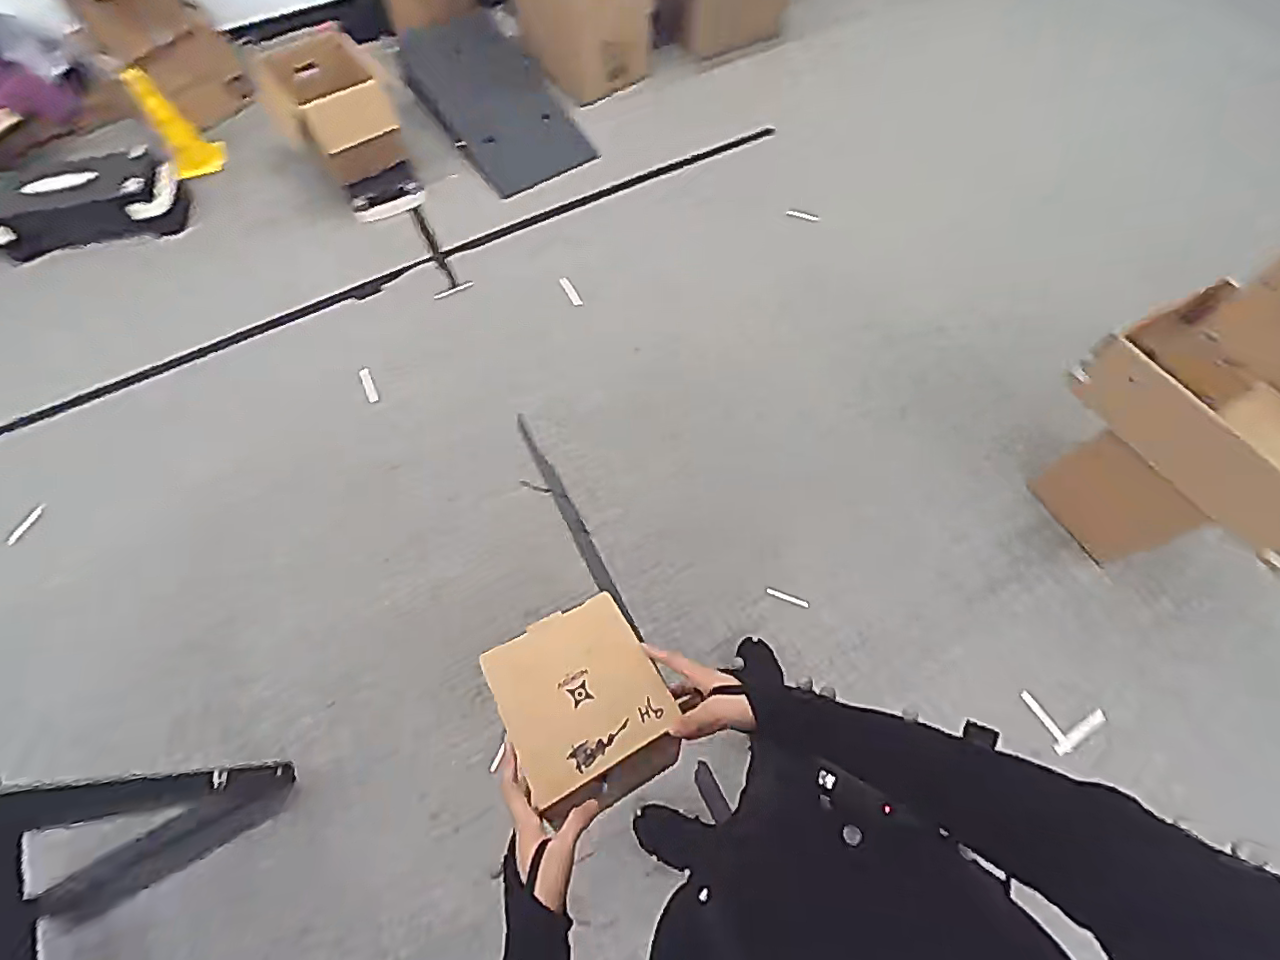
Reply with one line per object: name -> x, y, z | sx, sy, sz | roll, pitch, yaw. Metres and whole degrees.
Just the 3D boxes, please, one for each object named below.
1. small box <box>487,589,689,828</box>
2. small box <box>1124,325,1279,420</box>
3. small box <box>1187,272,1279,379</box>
small box -> -0.061, 0.268, 0.634 | 0.168, 0.176, 0.179 | -23, 53, -18
small box -> 1.324, -0.266, 1.275 | 0.168, 0.176, 0.179 | -31, 66, -14
small box -> 1.324, -0.343, 1.131 | 0.179, 0.176, 0.168 | -30, 67, -15
